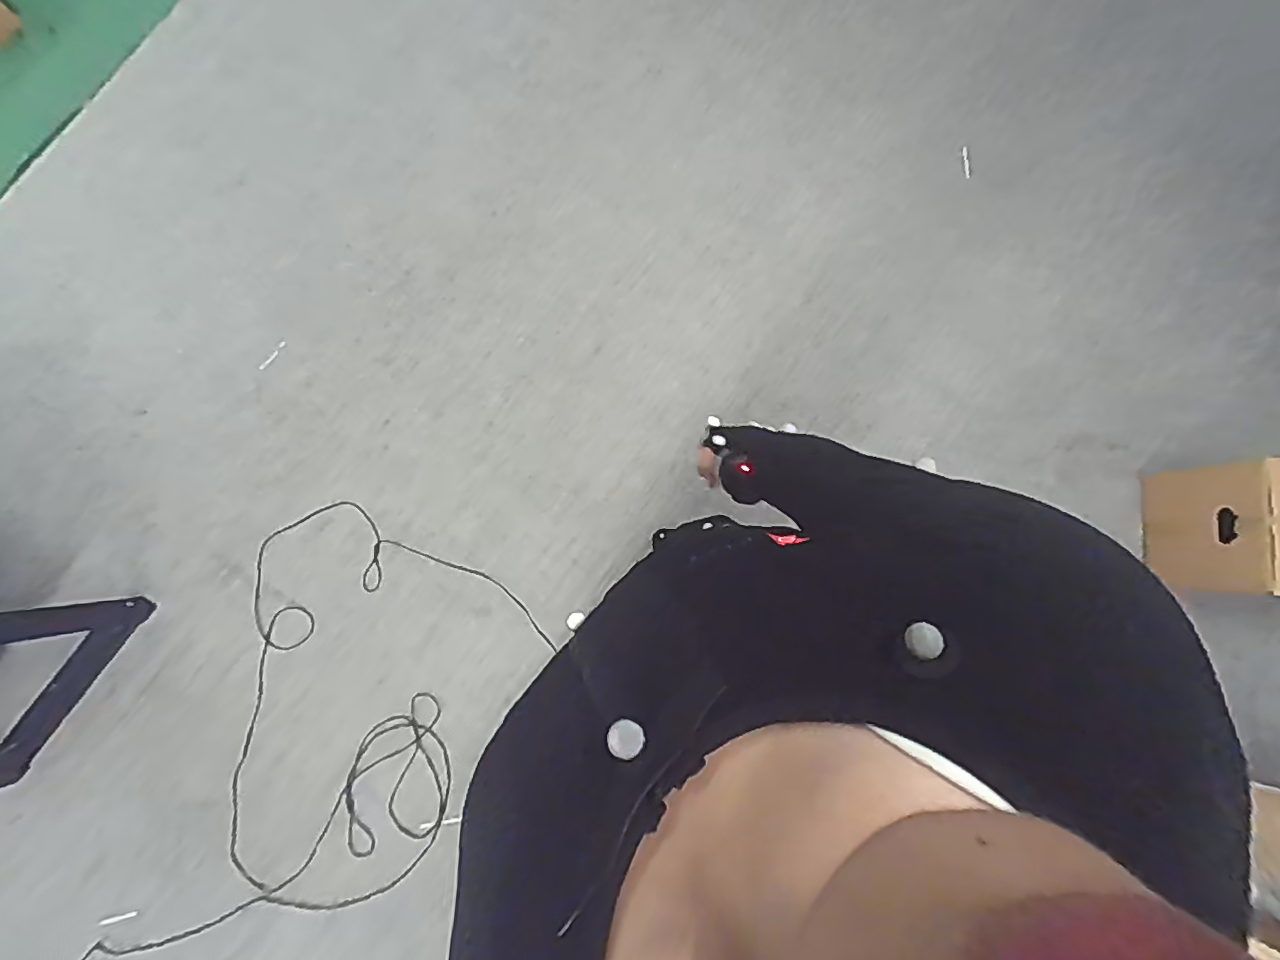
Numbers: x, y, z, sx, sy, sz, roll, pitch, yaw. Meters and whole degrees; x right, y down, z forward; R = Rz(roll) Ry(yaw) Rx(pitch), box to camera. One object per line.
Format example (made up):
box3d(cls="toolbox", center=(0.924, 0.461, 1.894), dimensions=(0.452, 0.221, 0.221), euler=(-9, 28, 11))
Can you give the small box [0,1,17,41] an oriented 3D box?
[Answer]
box3d(cls="small box", center=(-2.053, -1.437, 1.616), dimensions=(0.168, 0.176, 0.179), euler=(40, 86, 4))
